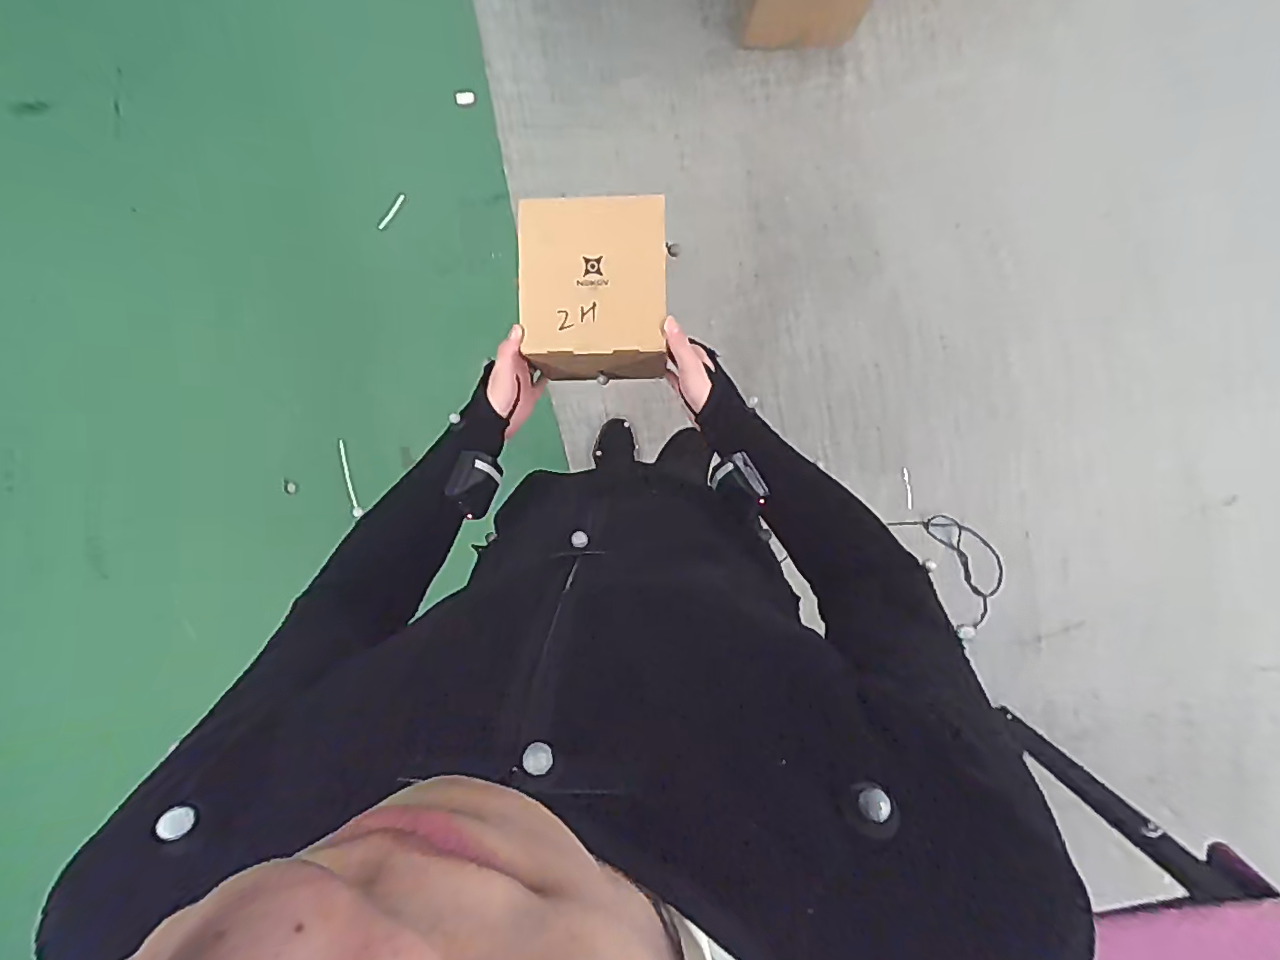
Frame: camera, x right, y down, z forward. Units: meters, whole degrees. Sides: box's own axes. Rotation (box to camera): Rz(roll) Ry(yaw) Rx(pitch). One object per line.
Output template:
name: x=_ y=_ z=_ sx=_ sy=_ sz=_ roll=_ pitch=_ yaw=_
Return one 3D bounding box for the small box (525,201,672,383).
small box: x=-0.045 y=-0.225 z=0.683 sx=0.168 sy=0.176 sz=0.179 roll=0 pitch=91 yaw=2
